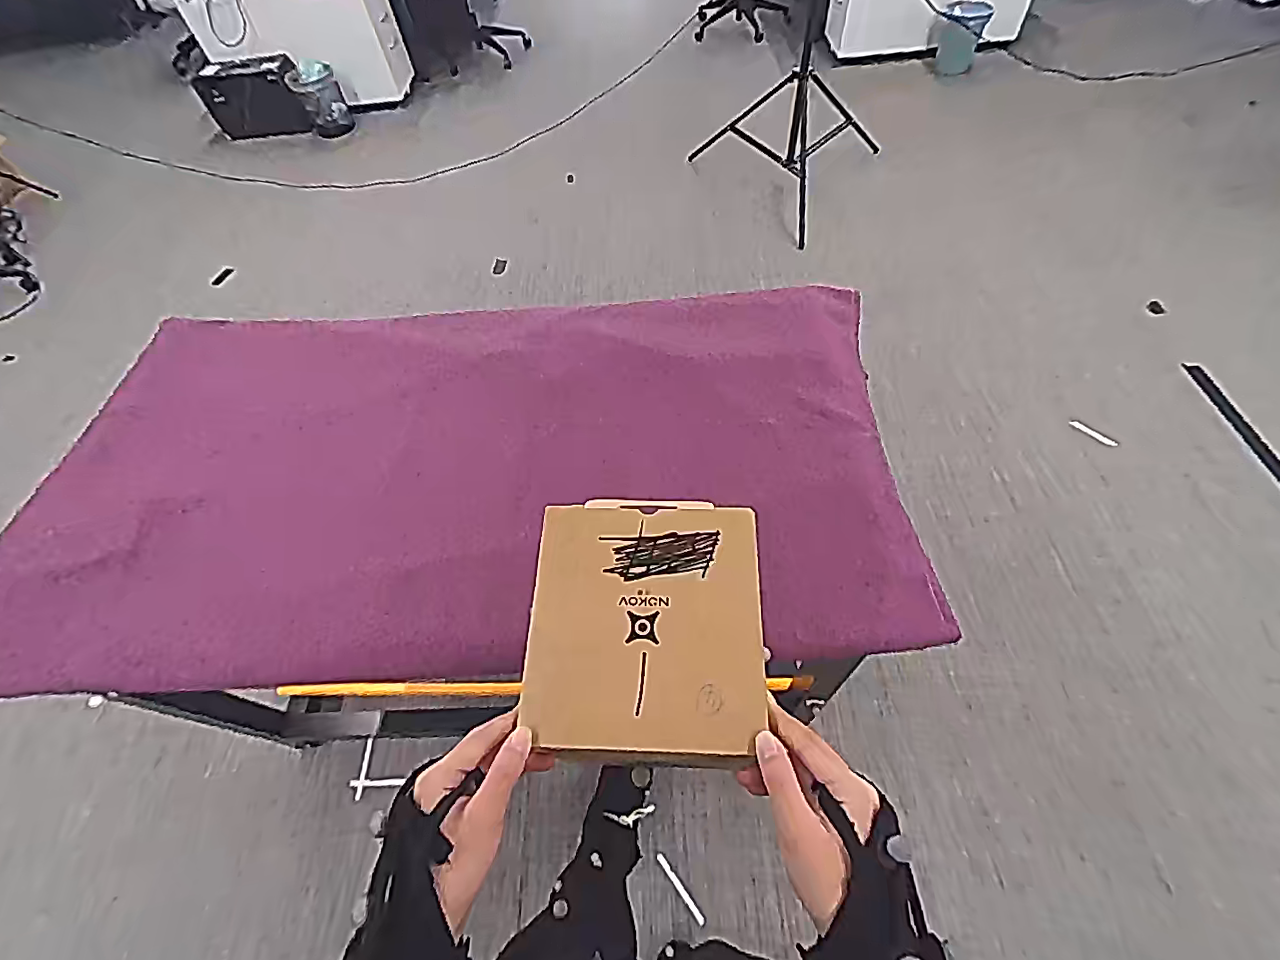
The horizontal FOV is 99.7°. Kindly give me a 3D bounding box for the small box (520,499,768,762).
[{"bbox_3d":[0.009,0.132,0.461,0.168,0.176,0.179,0,59,4],"label":"small box"}]
